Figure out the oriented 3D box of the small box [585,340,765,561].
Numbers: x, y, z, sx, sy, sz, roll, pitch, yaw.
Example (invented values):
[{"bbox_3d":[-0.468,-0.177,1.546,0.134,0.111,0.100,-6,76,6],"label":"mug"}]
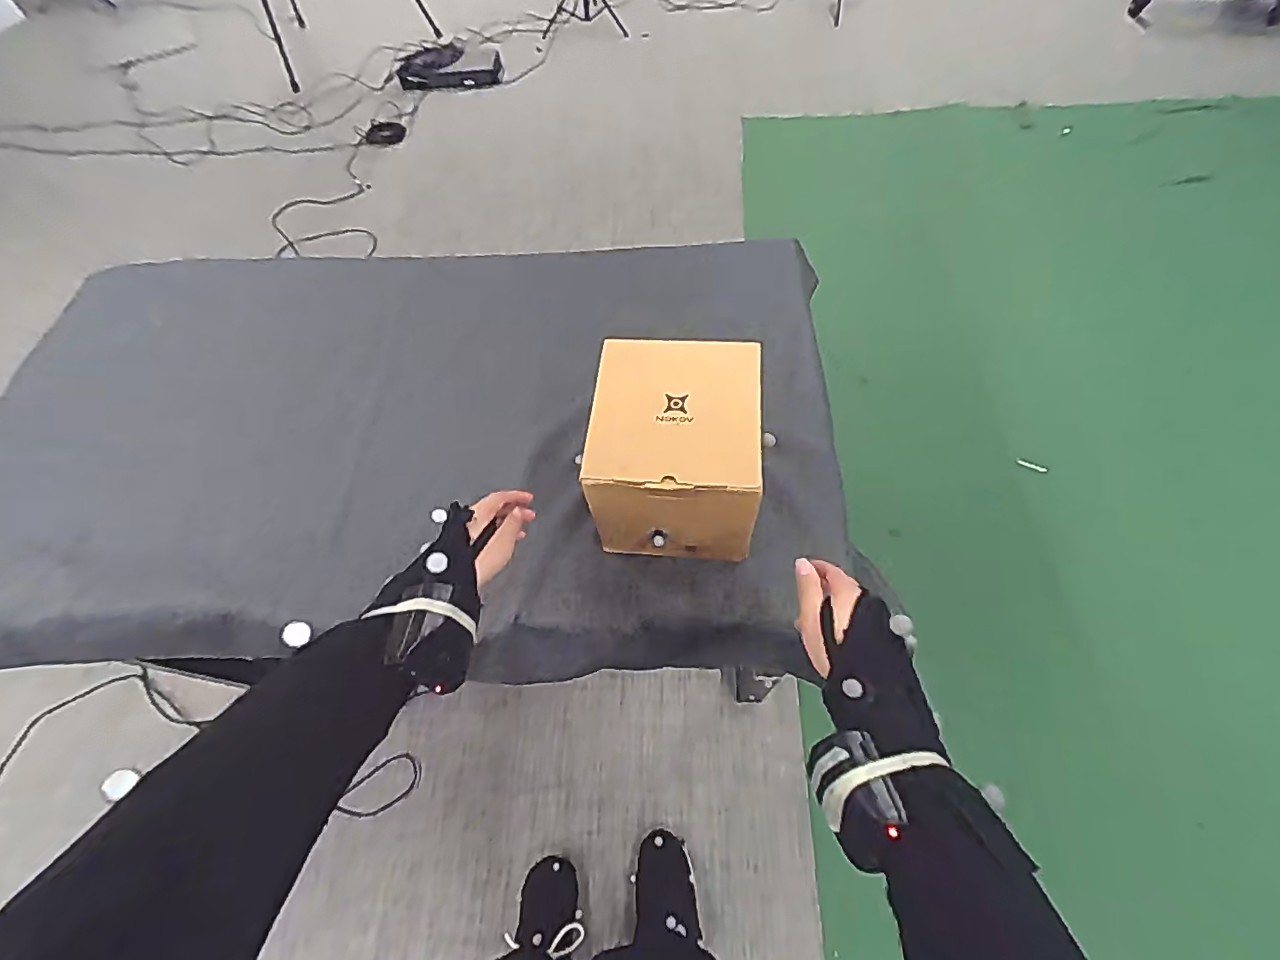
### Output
[{"bbox_3d":[0.043,-0.028,0.593,0.168,0.176,0.179,3,60,6],"label":"small box"}]
